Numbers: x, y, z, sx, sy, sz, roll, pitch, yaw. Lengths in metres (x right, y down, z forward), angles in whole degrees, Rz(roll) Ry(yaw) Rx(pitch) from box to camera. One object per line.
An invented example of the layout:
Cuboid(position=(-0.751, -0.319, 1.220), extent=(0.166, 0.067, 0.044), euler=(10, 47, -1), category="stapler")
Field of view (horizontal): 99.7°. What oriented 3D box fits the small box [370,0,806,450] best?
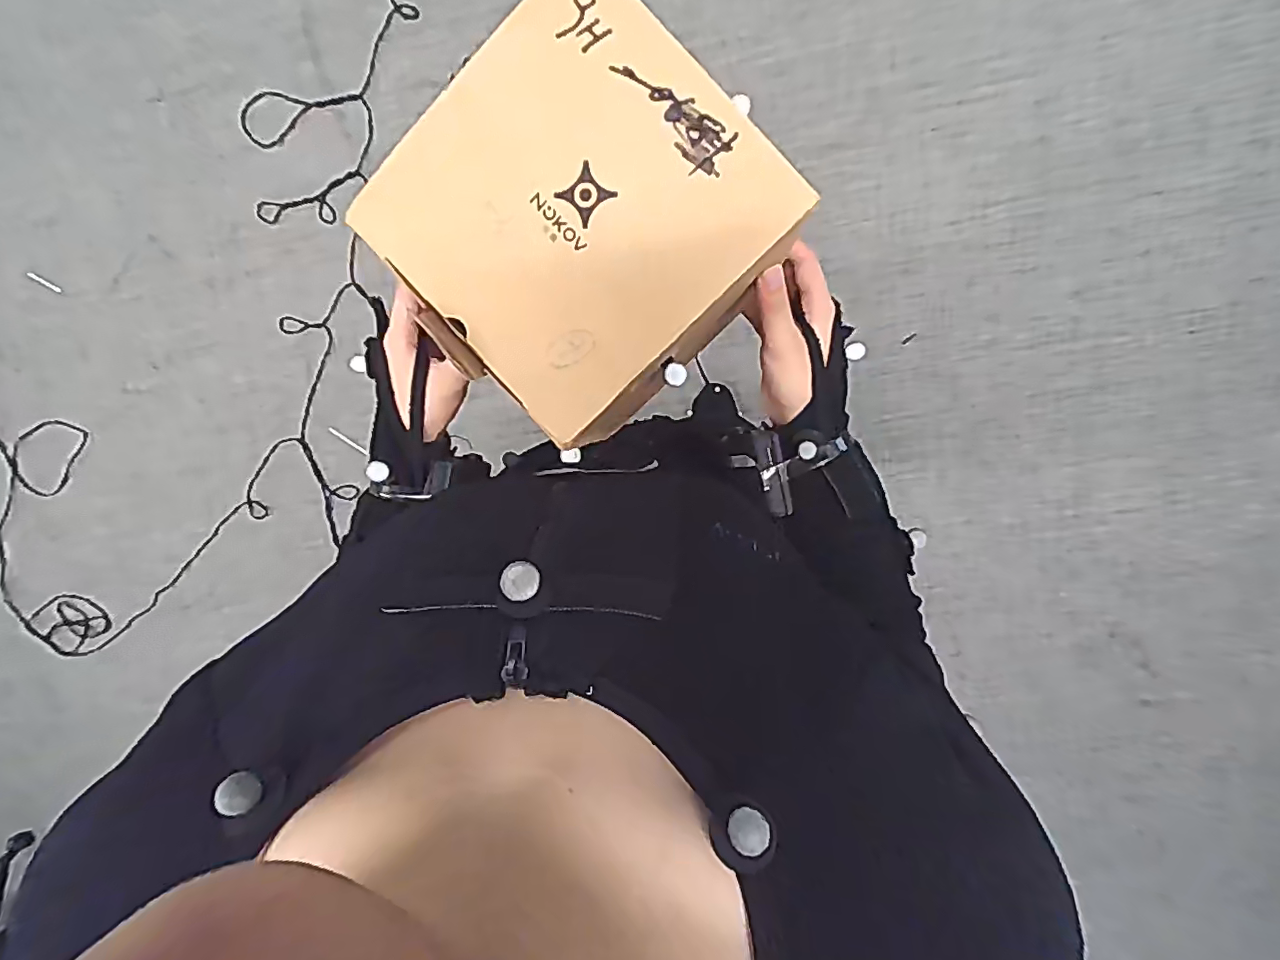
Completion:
Cuboid(position=(-0.023, -0.140, 0.358), extent=(0.179, 0.176, 0.168), euler=(-44, 92, 8), category="small box")
